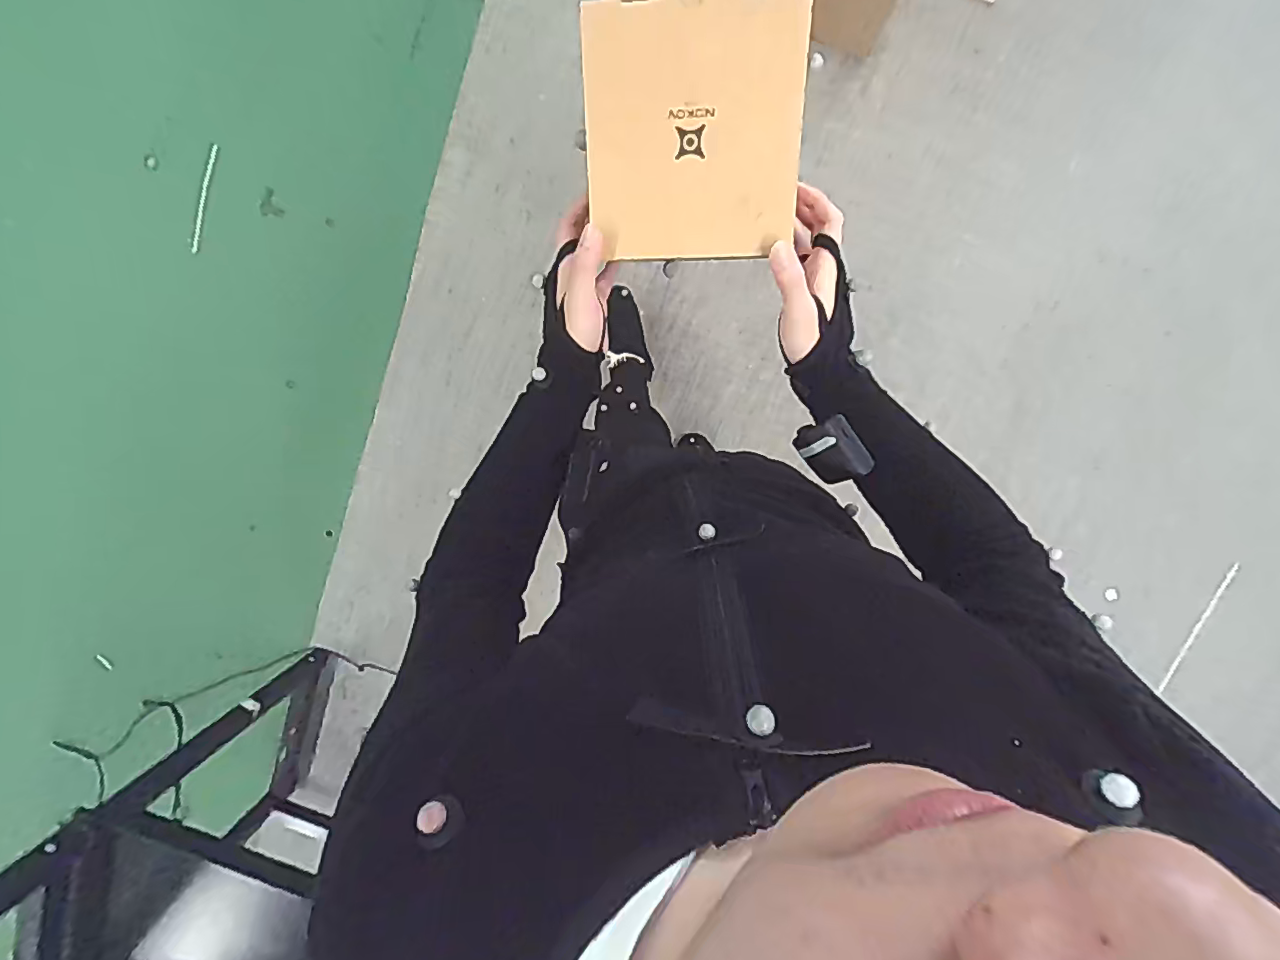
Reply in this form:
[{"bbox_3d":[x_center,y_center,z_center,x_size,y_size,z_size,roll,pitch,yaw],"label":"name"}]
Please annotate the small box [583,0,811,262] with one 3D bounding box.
[{"bbox_3d":[0.051,-0.292,0.486,0.168,0.176,0.179,2,111,8],"label":"small box"}]
